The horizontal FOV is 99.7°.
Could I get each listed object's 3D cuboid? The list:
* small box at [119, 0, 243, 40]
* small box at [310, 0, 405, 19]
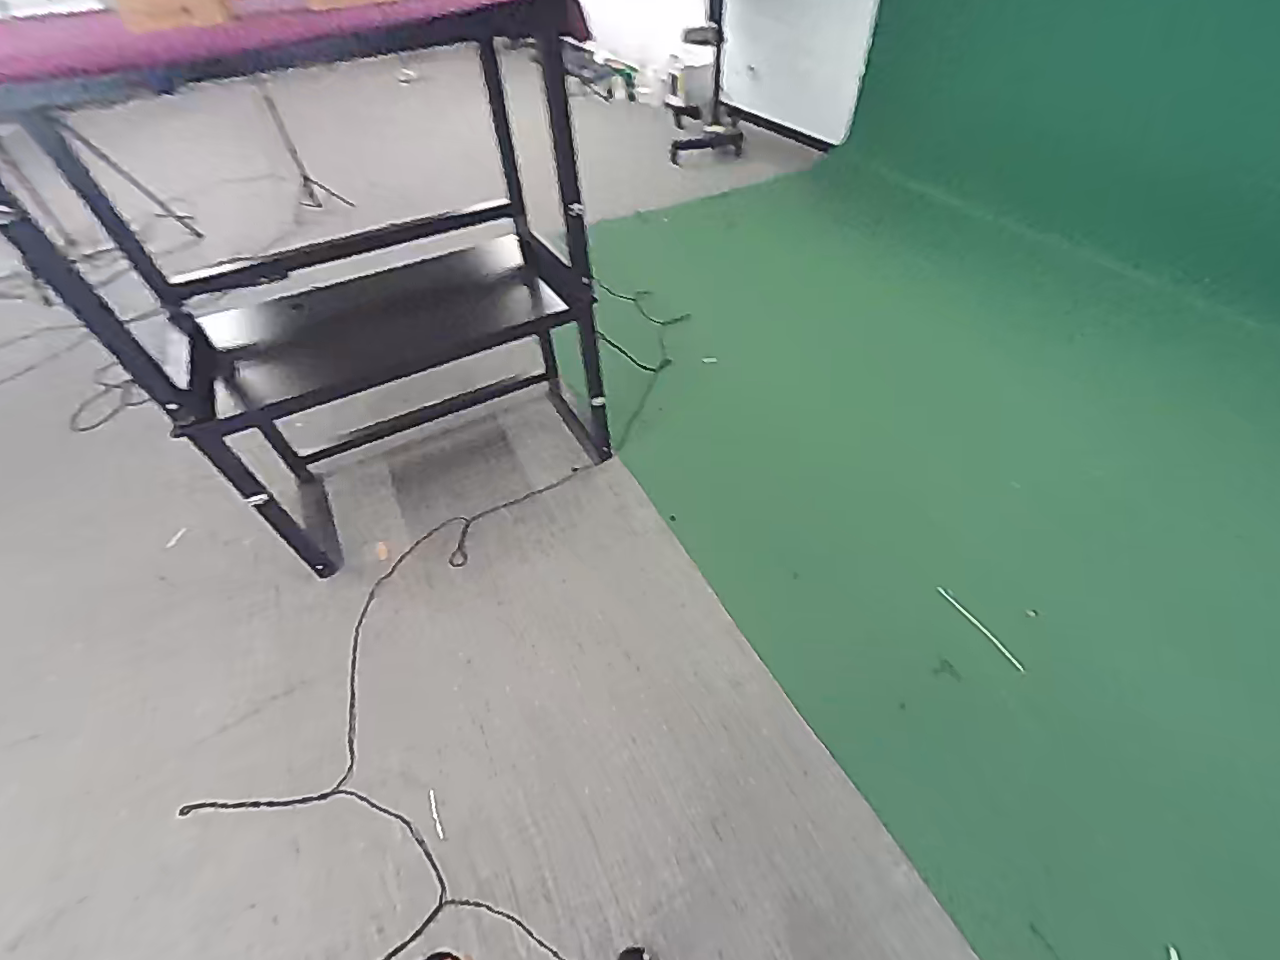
[{"bbox_3d":[-0.884,-0.945,1.013,0.168,0.176,0.179,-18,49,-13],"label":"small box"},{"bbox_3d":[-0.609,-1.063,1.102,0.179,0.176,0.168,-24,50,-18],"label":"small box"}]
